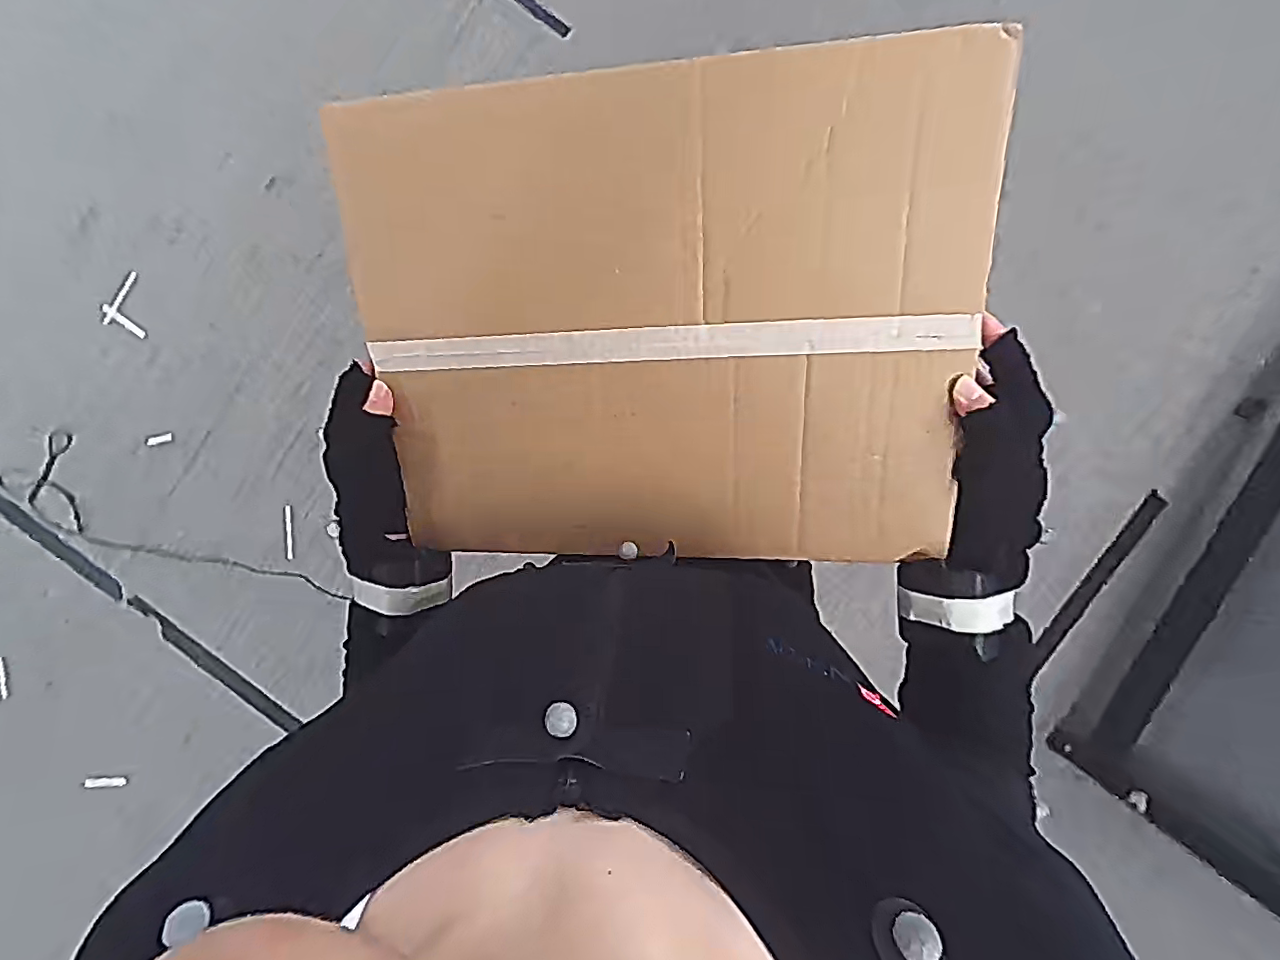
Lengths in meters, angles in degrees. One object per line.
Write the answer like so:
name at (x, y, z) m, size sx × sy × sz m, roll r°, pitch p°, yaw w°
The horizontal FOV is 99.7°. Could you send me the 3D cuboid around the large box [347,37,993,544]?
large box at (0.028, -0.144, 0.514) m, size 0.408 × 0.320 × 0.320 m, roll -1°, pitch 111°, yaw 9°
